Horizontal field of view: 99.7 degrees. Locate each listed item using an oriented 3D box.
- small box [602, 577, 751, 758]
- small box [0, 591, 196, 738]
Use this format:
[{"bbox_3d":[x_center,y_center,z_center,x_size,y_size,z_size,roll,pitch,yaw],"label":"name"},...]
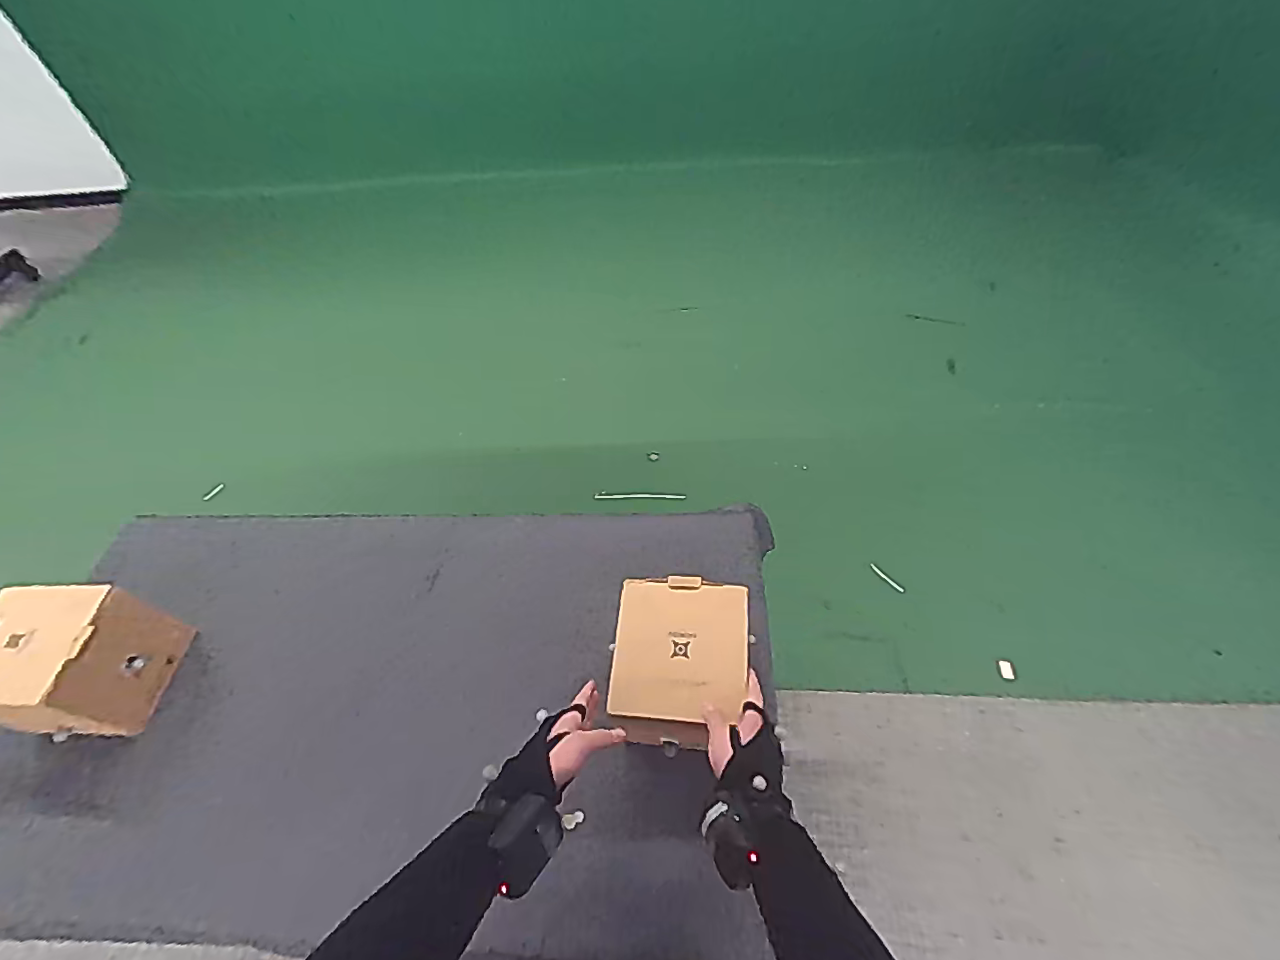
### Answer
[{"bbox_3d":[0.056,0.250,0.718,0.168,0.176,0.179,3,54,10],"label":"small box"},{"bbox_3d":[-0.828,0.277,0.803,0.179,0.176,0.168,0,53,4],"label":"small box"}]
